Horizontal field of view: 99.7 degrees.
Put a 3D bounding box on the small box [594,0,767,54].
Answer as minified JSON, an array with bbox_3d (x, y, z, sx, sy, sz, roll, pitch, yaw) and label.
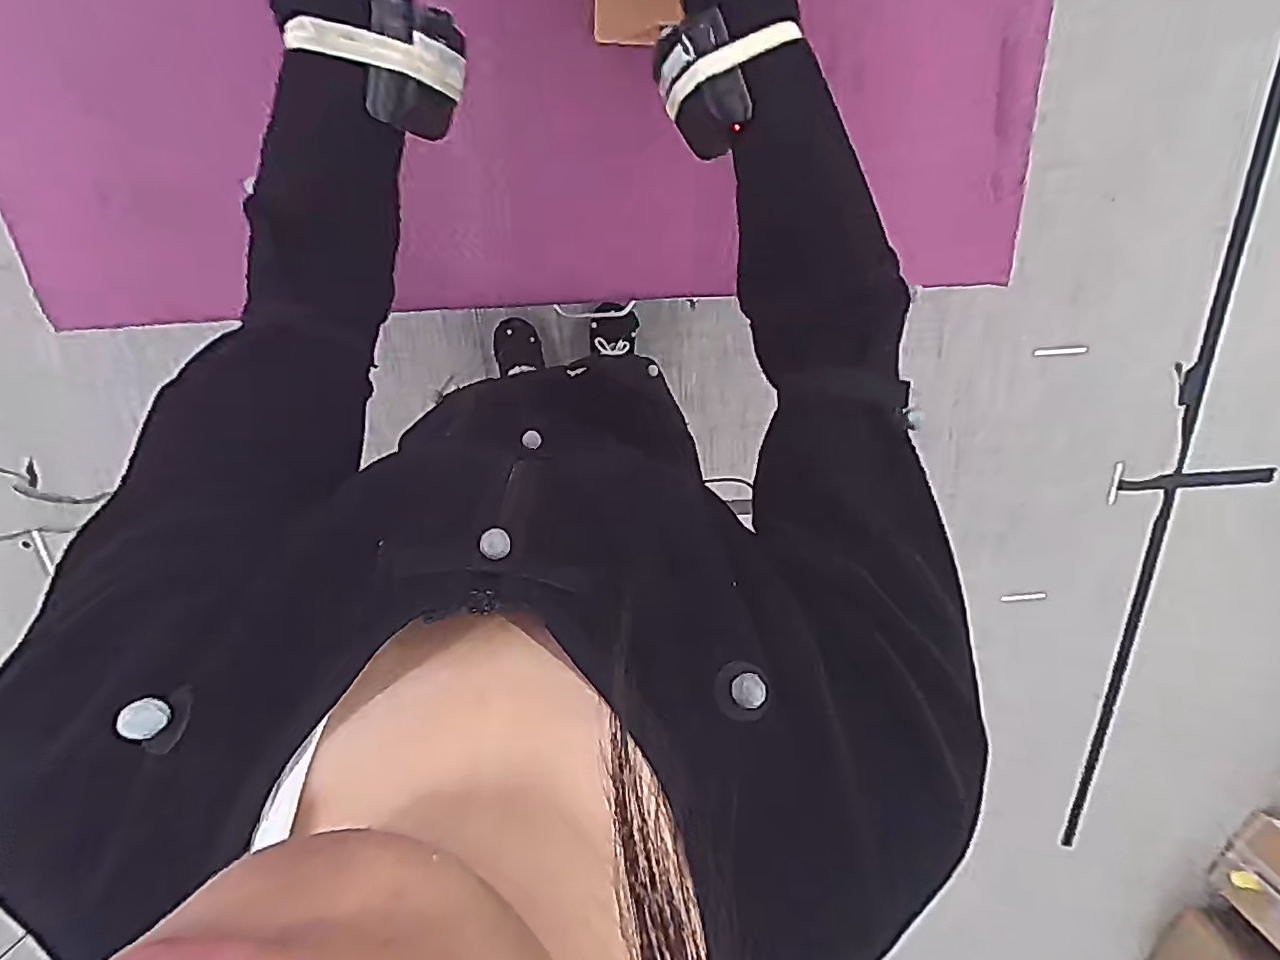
[{"bbox_3d":[0.039,-0.544,0.507,0.168,0.176,0.179,0,110,-5],"label":"small box"}]
